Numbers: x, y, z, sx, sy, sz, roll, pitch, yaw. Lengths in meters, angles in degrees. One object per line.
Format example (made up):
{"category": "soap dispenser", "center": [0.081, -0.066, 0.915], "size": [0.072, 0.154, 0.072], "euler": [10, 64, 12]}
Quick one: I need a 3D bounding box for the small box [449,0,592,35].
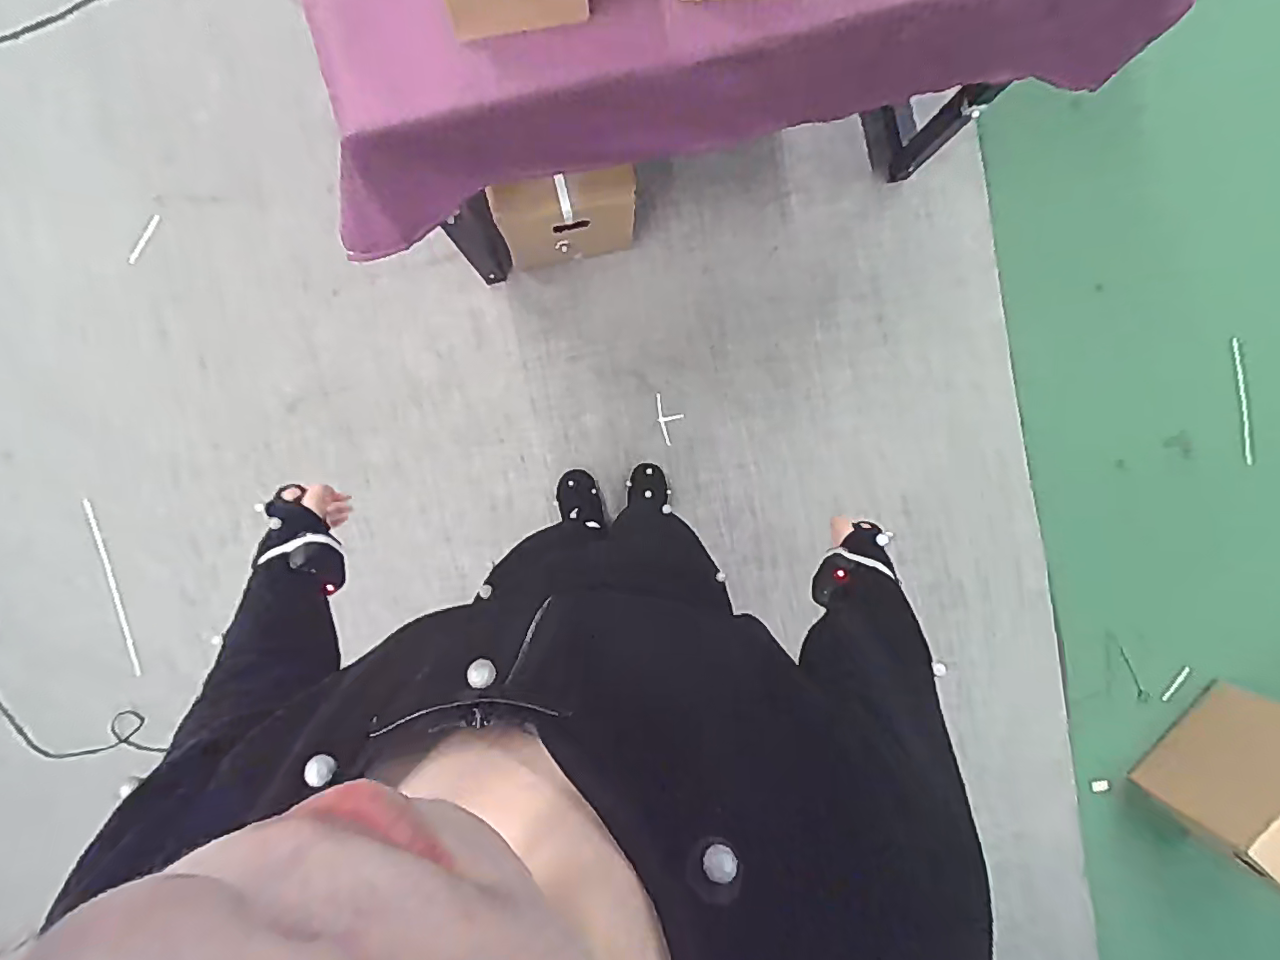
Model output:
{"category": "small box", "center": [-0.159, -0.662, 0.622], "size": [0.179, 0.176, 0.168], "euler": [-11, 95, -1]}
